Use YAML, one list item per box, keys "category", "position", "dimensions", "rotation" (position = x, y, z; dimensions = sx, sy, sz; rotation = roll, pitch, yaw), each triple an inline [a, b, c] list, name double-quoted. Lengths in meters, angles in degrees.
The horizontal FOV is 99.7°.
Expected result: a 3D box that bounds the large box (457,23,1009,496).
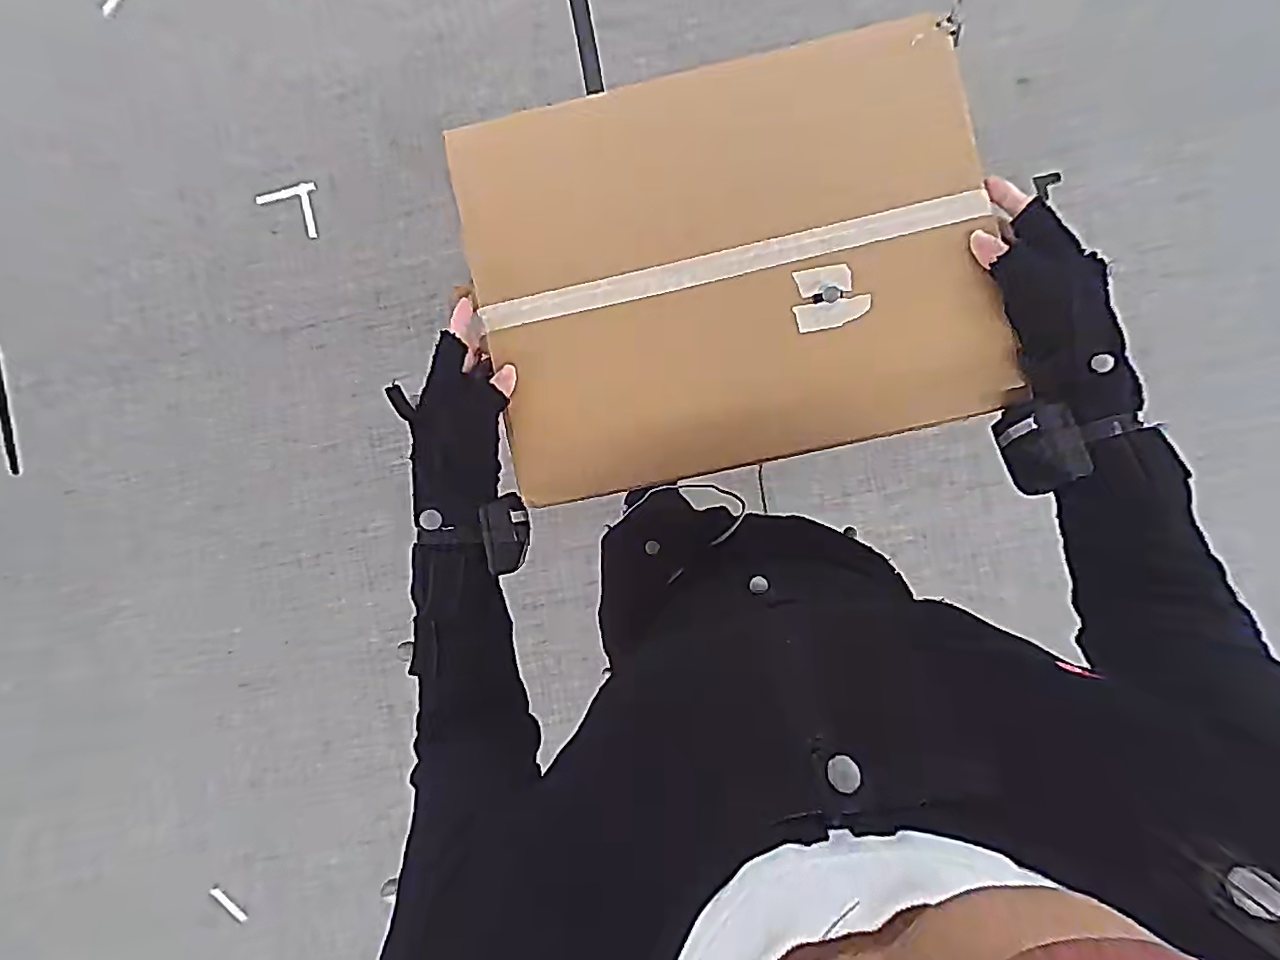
- category: "large box"
  position: [0.075, -0.177, 0.589]
  dimensions: [0.408, 0.320, 0.320]
  rotation: [-12, 90, 2]
